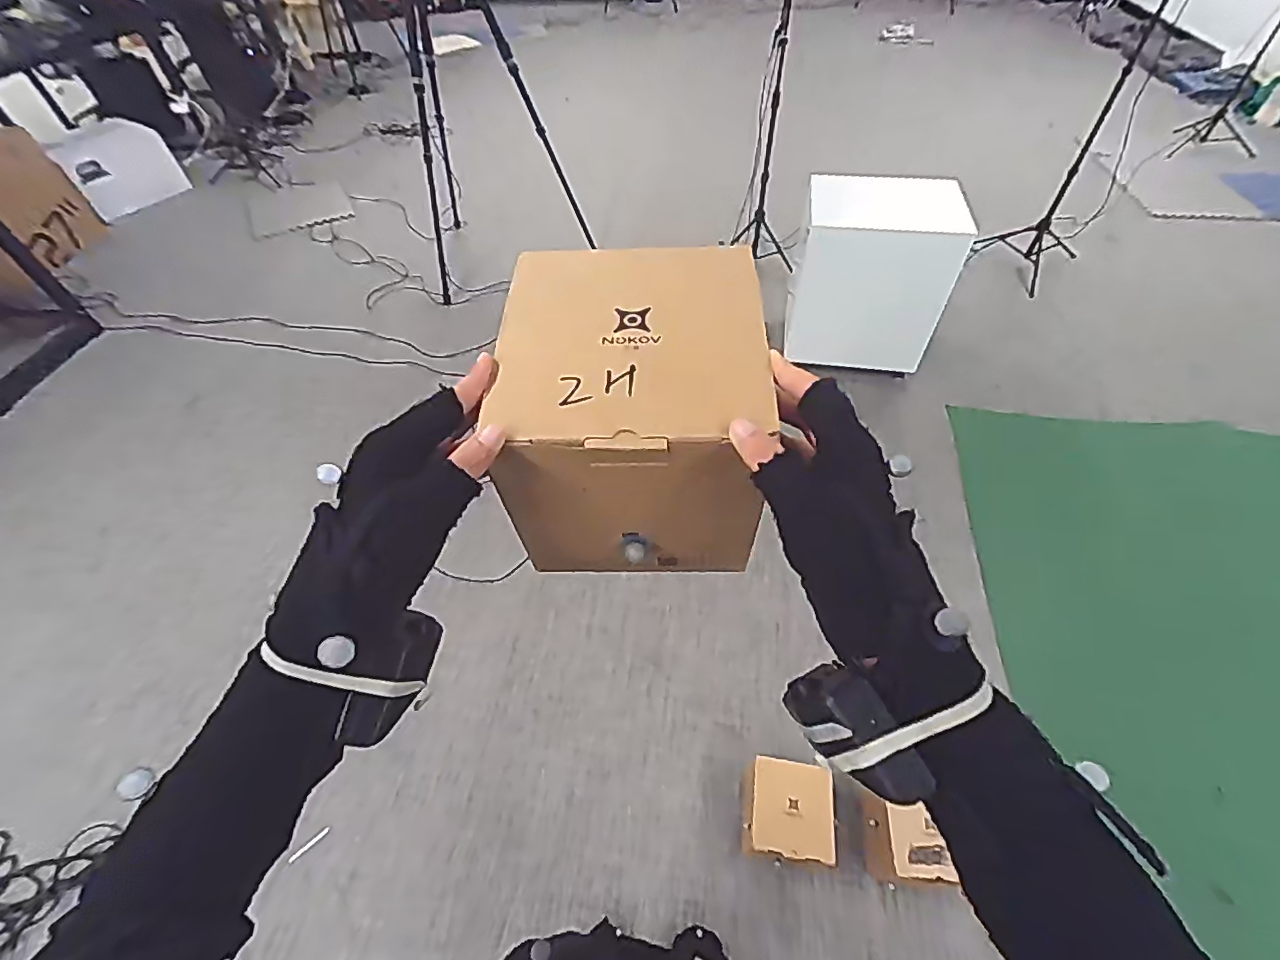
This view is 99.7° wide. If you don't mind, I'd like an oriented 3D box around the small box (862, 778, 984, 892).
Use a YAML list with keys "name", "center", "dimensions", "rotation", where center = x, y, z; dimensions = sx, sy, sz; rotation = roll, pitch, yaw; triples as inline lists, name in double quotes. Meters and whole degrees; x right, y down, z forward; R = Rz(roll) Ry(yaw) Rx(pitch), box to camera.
- name: "small box"
  center: [0.584, 0.753, 1.143]
  dimensions: [0.168, 0.176, 0.179]
  rotation: [4, 51, 5]

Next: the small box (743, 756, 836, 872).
- name: "small box"
  center: [0.319, 0.728, 1.175]
  dimensions: [0.168, 0.176, 0.179]
  rotation: [7, 52, 7]
